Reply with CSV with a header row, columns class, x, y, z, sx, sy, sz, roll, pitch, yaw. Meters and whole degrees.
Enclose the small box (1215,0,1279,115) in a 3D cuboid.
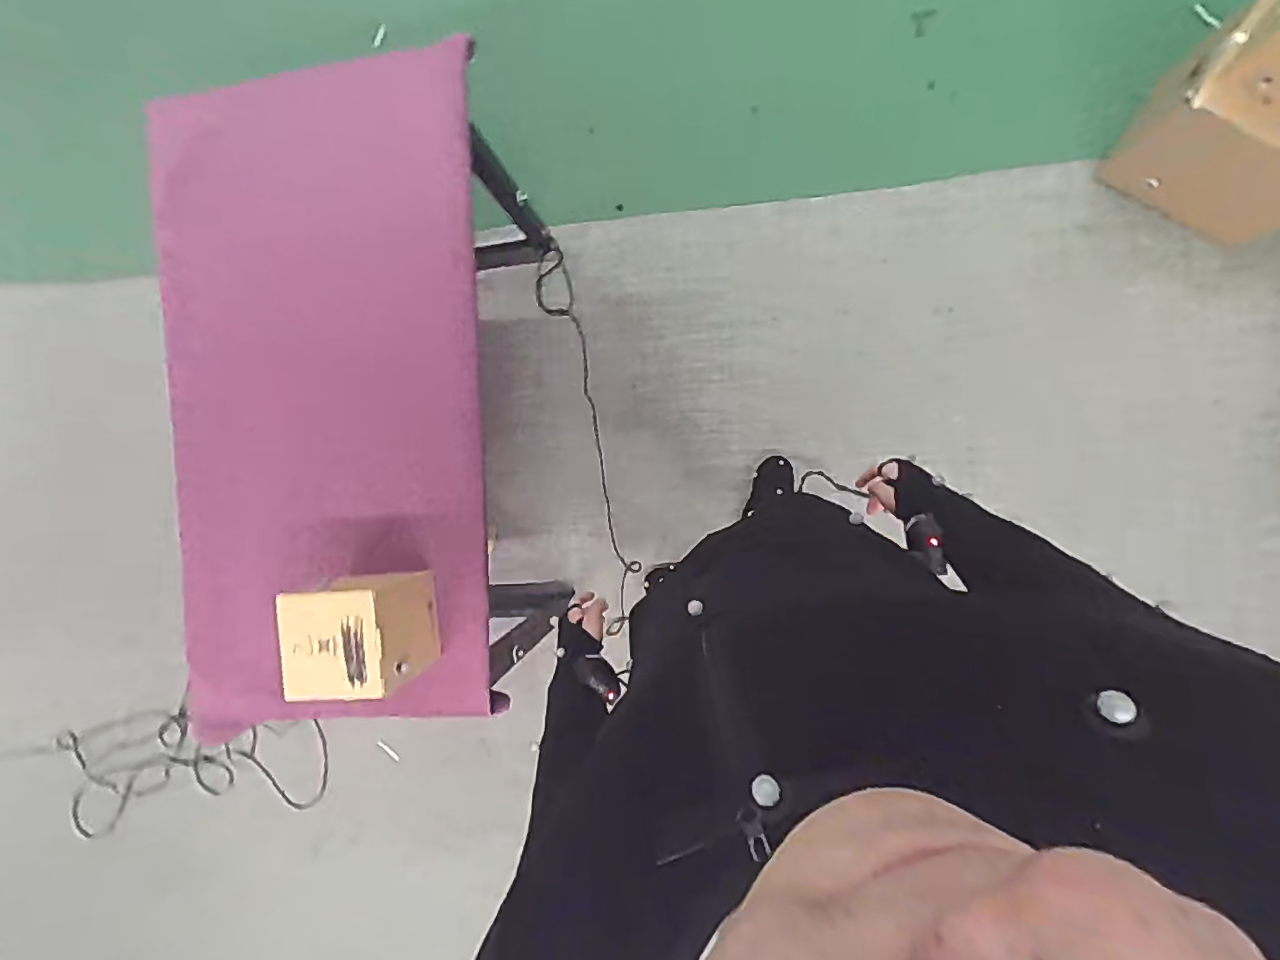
class,x,y,z,sx,sy,sz,roll,pitch,yaw
small box,1.322,-0.881,1.064,0.168,0.176,0.179,34,97,5
